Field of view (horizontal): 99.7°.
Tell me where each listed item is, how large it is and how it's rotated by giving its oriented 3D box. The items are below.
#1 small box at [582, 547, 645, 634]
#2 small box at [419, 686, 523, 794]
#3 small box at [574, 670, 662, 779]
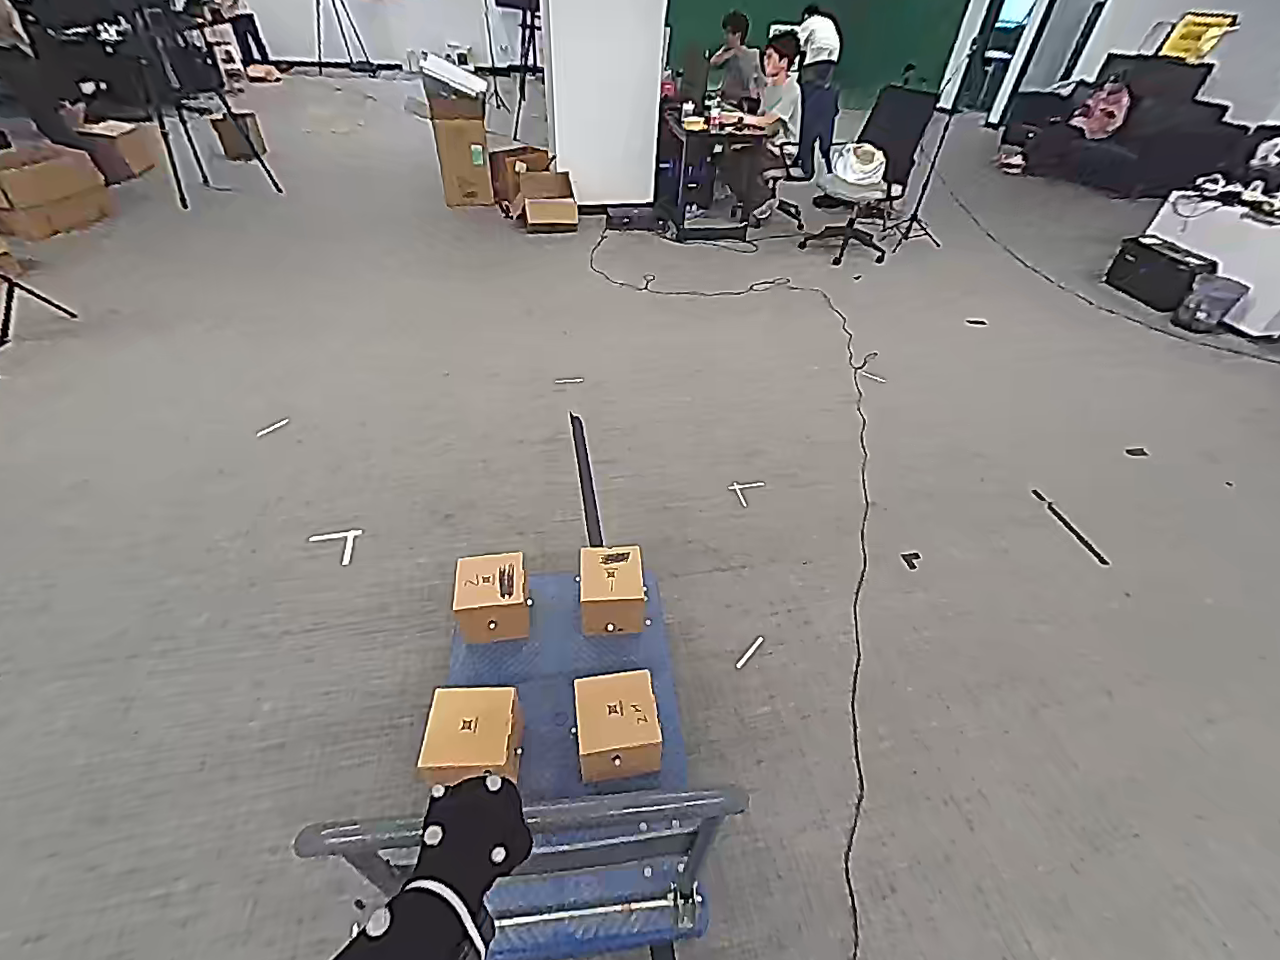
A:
[{"bbox_3d":[-0.077,0.304,1.493,0.168,0.176,0.179,-1,44,-5],"label":"small box"},{"bbox_3d":[-0.360,0.571,1.186,0.179,0.176,0.168,1,42,-5],"label":"small box"},{"bbox_3d":[-0.052,0.555,1.222,0.179,0.176,0.168,-4,43,-8],"label":"small box"}]
